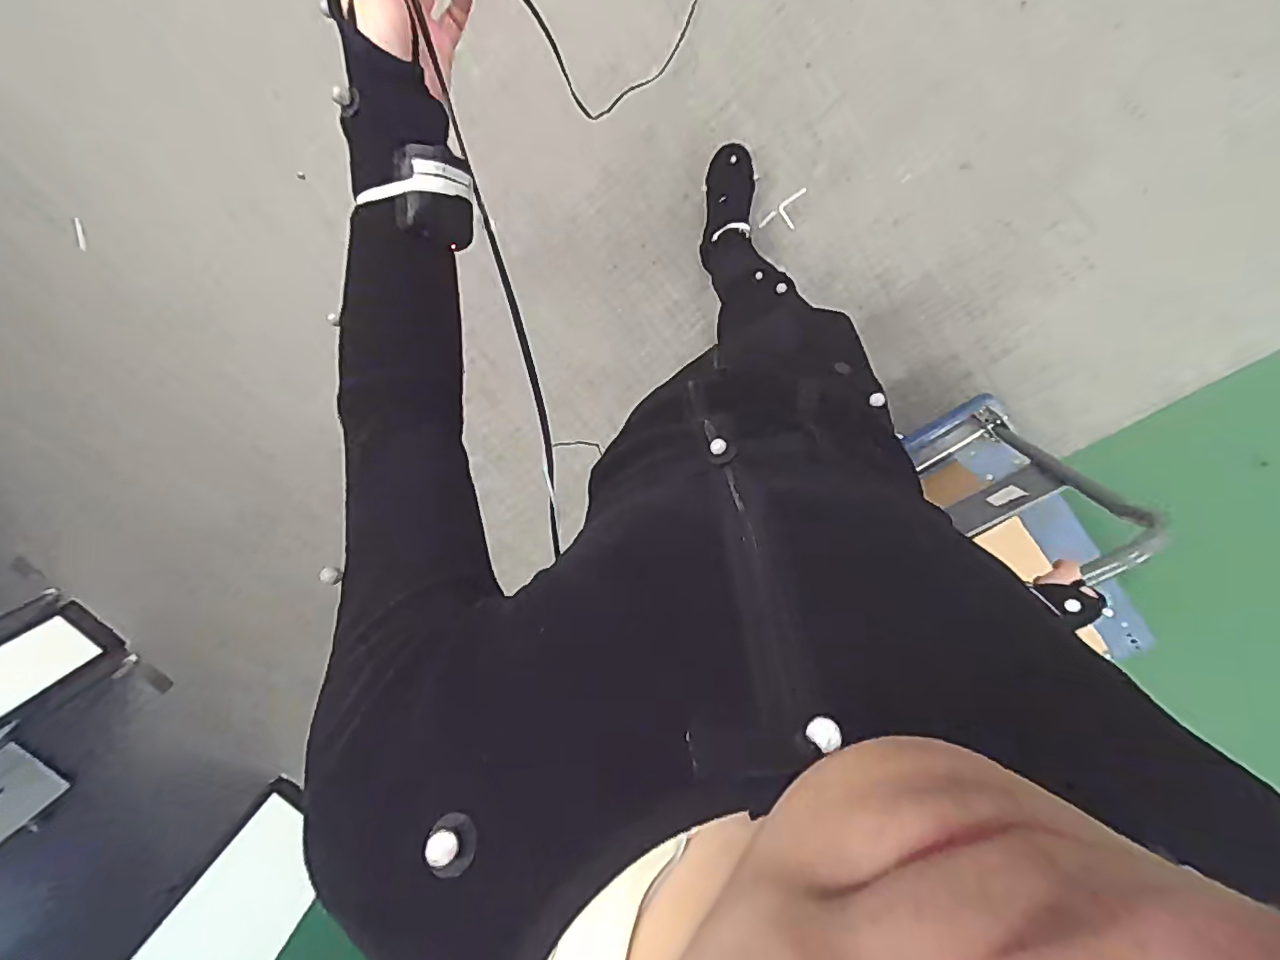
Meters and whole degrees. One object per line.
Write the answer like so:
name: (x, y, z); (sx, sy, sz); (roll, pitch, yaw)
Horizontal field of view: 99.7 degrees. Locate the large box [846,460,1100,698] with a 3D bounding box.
large box: (0.773, 0.228, 1.314); (0.320, 0.320, 0.408); (-36, 103, 22)
